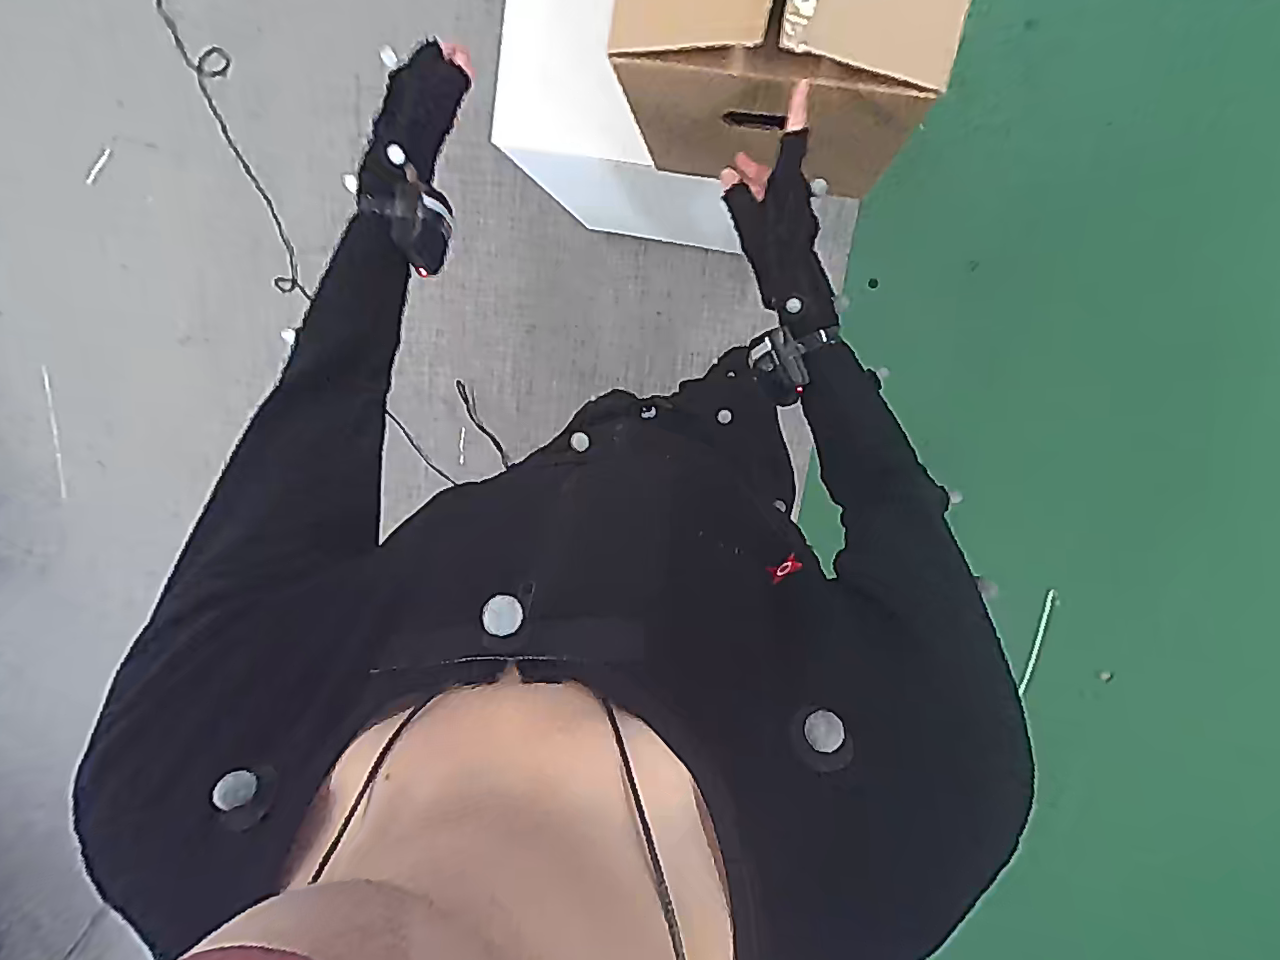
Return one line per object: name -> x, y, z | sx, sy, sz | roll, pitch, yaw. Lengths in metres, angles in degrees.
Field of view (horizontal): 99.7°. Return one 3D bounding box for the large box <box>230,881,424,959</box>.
large box -> -0.873, 1.408, 1.495 | 0.408, 0.320, 0.320 | 9, 98, 8
